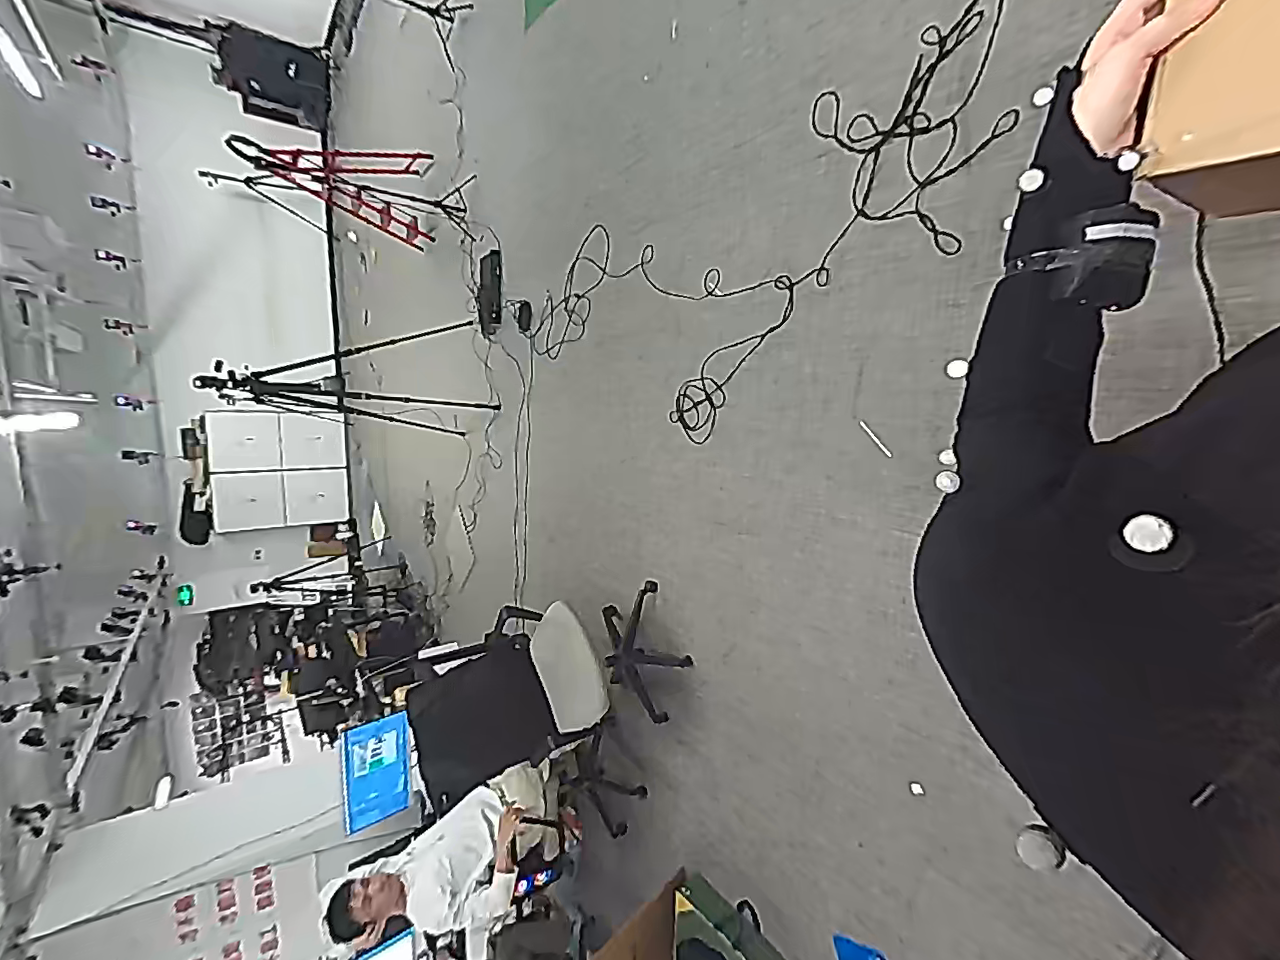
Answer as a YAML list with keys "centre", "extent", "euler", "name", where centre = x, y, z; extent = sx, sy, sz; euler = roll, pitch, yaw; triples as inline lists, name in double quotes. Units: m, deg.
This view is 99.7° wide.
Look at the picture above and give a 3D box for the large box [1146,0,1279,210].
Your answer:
- centre: [0.607, -0.367, 0.294]
  extent: [0.408, 0.320, 0.320]
  euler: [16, 113, 52]
  name: "large box"
